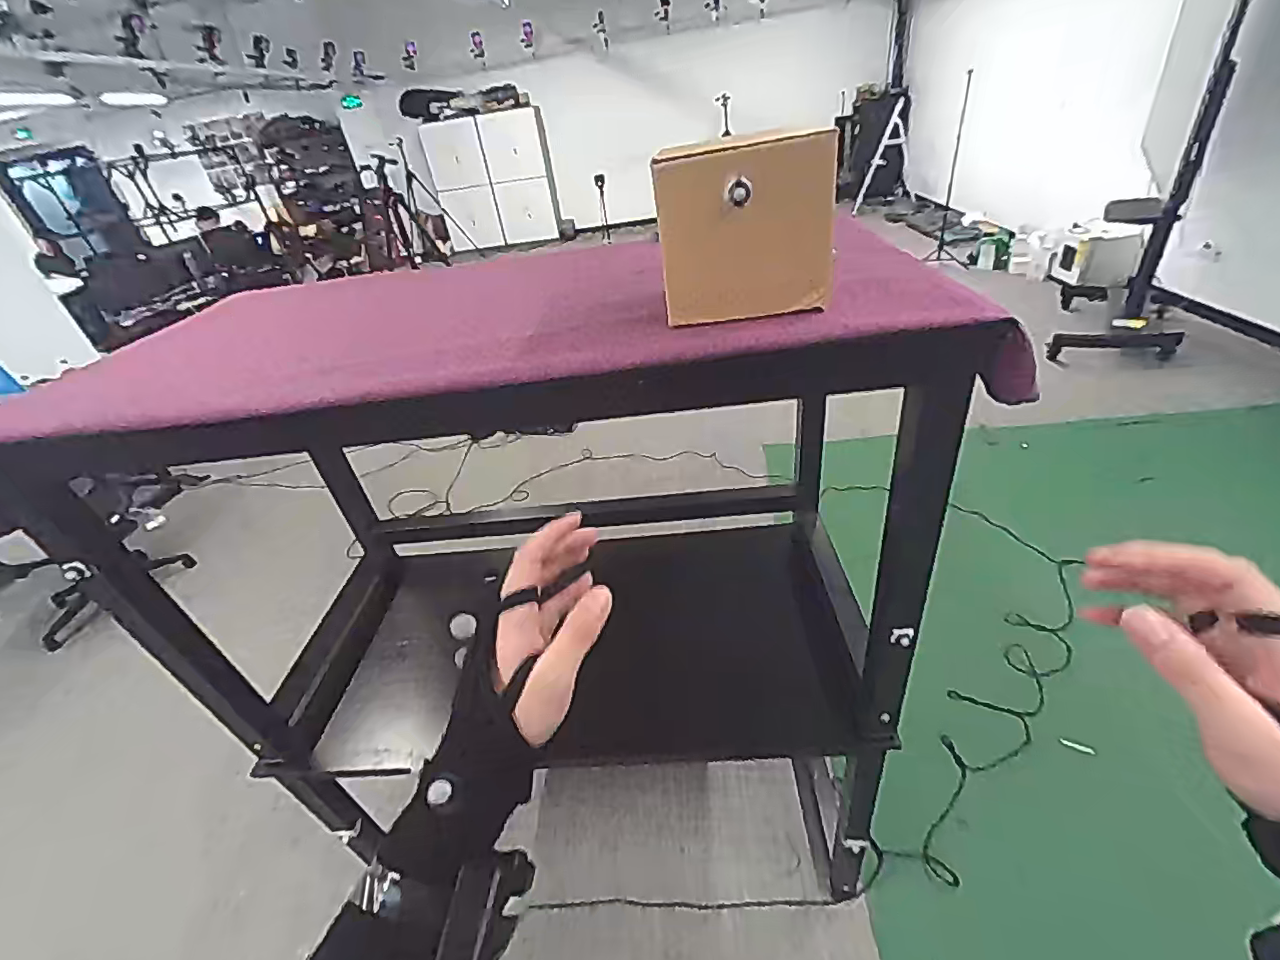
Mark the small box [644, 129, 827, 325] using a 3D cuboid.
[{"bbox_3d":[0.110,-0.286,0.617,0.179,0.176,0.168,-4,34,10],"label":"small box"}]
